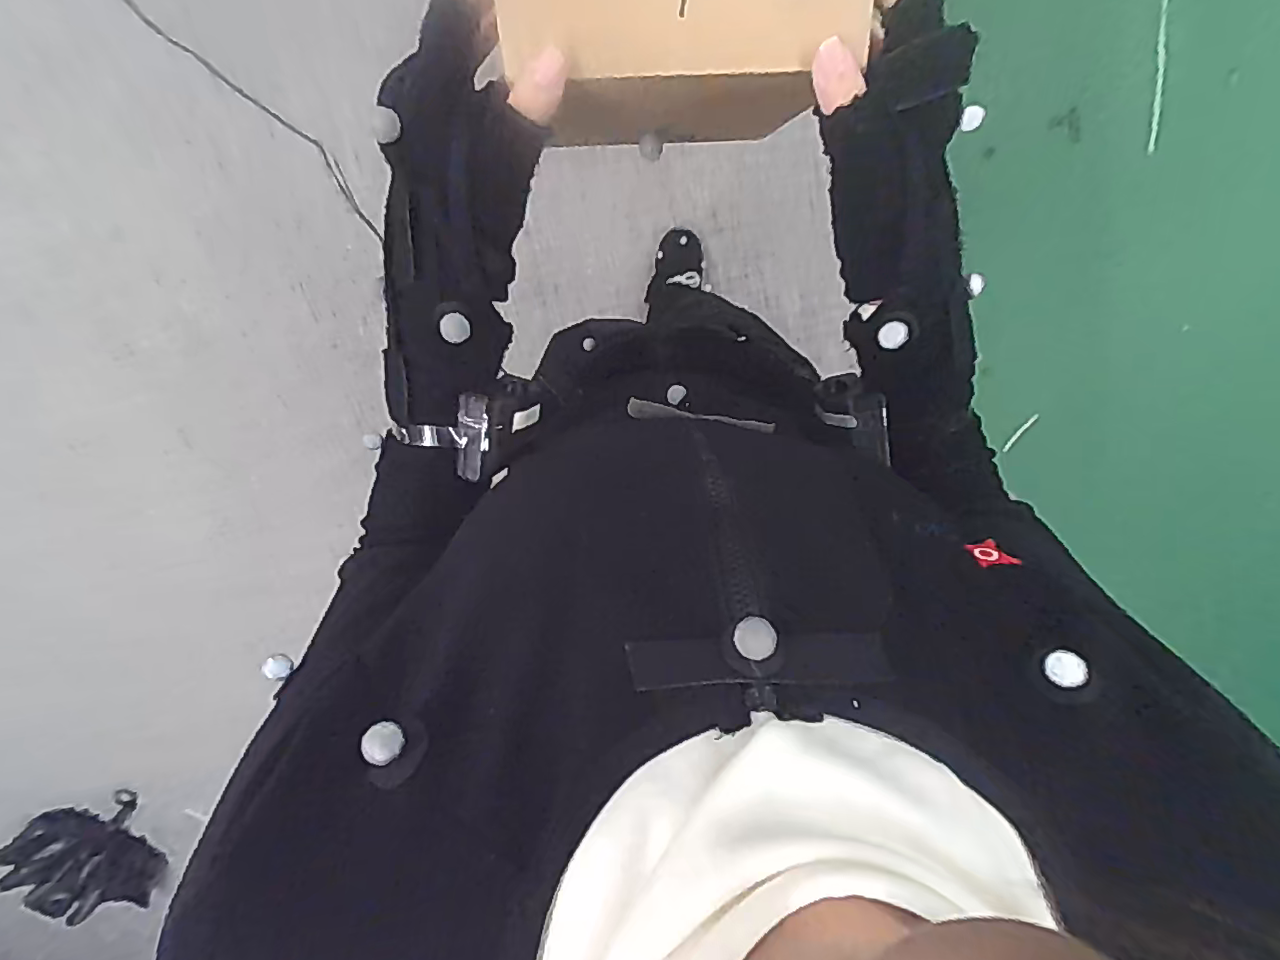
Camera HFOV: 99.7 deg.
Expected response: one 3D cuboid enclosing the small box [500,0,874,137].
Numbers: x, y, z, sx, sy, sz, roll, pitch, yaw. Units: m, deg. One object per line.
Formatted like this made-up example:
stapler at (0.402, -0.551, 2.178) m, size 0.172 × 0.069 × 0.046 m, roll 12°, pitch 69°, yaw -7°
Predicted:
small box at (0.013, -0.299, 0.281) m, size 0.168 × 0.176 × 0.179 m, roll -4°, pitch 113°, yaw -2°
